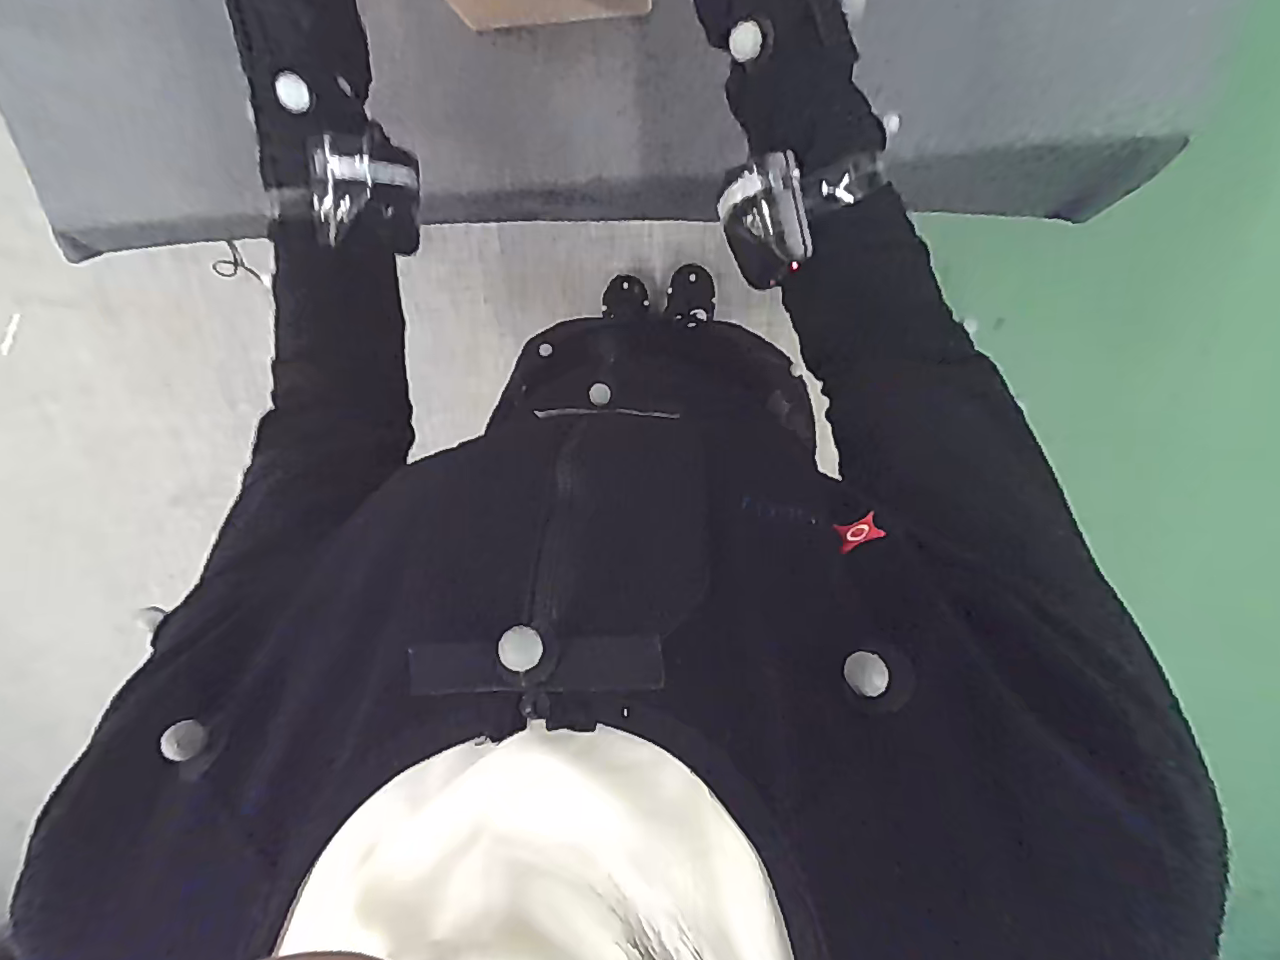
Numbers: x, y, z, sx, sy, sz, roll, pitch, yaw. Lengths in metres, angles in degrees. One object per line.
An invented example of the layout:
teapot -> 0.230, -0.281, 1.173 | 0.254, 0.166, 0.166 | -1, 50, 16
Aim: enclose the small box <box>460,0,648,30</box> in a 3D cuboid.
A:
small box -> -0.083, -0.488, 0.424 | 0.179, 0.176, 0.168 | -2, 112, 4
